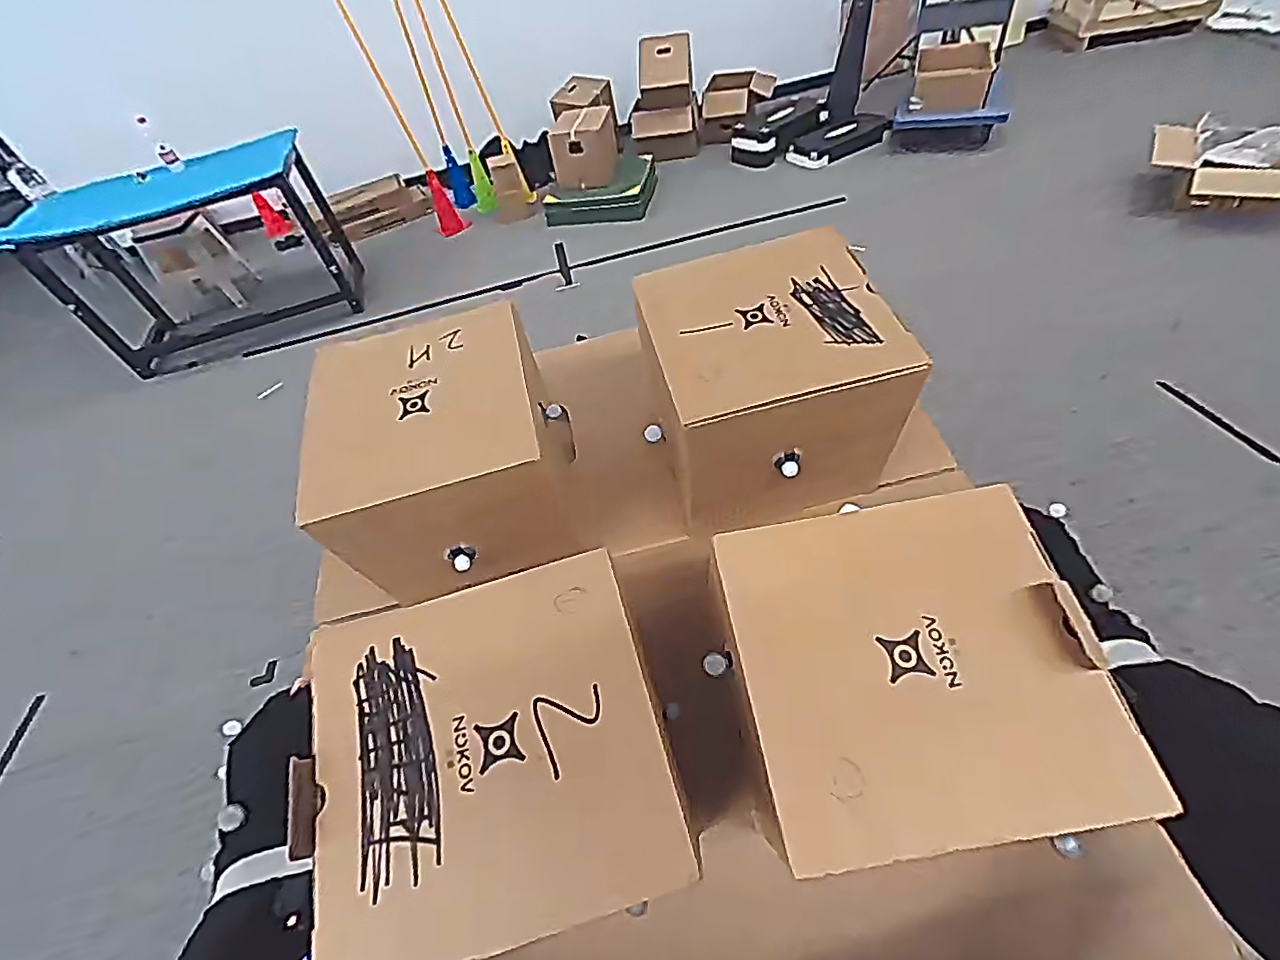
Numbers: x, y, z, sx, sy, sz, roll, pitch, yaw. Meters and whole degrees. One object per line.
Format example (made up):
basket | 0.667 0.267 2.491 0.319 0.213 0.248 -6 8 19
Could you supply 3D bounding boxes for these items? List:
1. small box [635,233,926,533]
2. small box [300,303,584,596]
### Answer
small box | 0.102 -0.075 0.469 0.179 0.176 0.168 -14 57 0
small box | -0.153 -0.015 0.467 0.168 0.176 0.179 -15 56 -2
